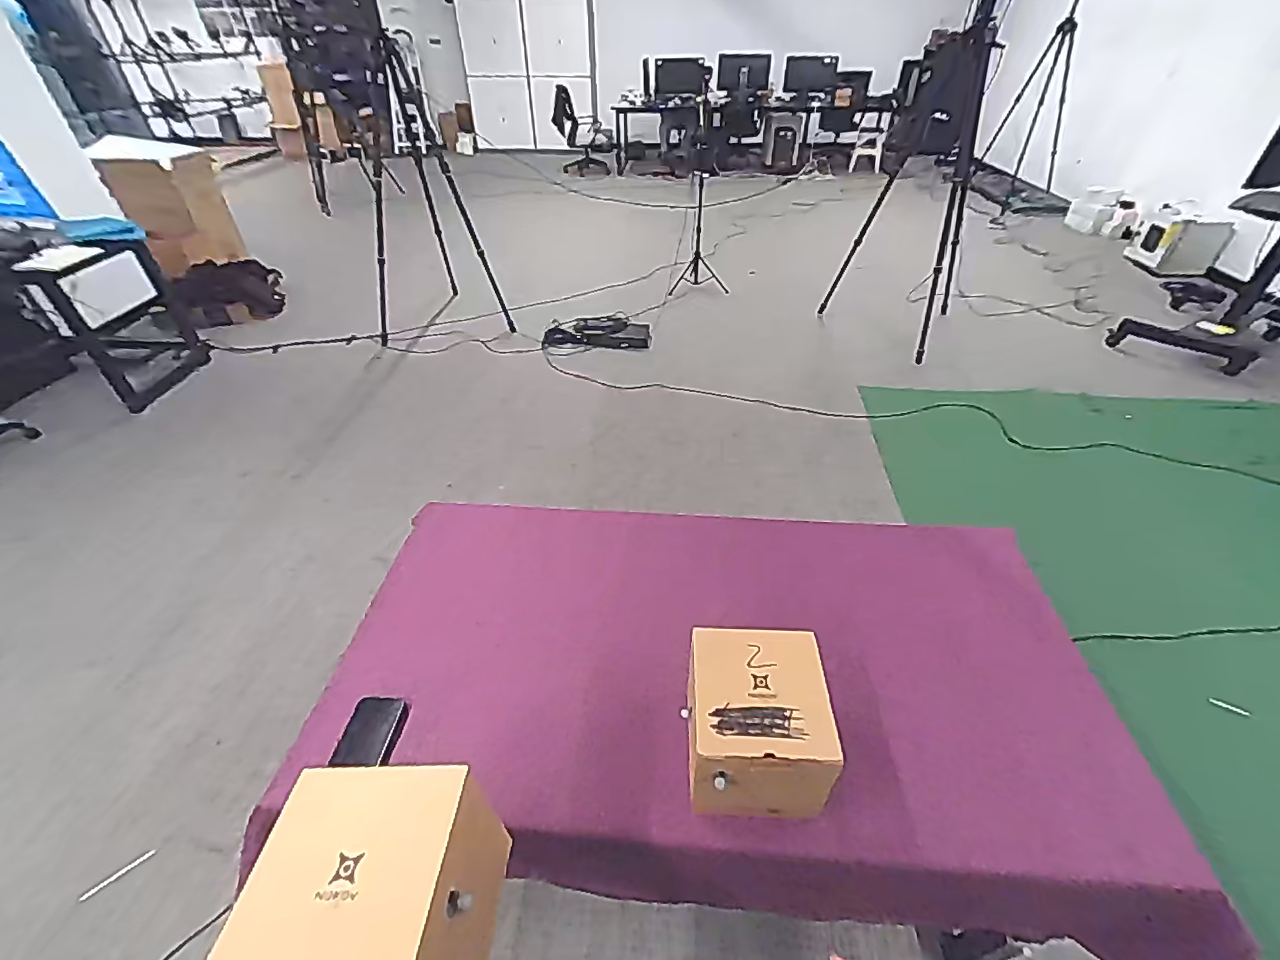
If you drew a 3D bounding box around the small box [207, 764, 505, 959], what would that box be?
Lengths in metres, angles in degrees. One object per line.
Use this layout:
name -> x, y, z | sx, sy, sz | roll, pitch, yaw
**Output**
small box -> -0.232, 0.385, 0.490 | 0.168, 0.176, 0.179 | -3, 38, 5
